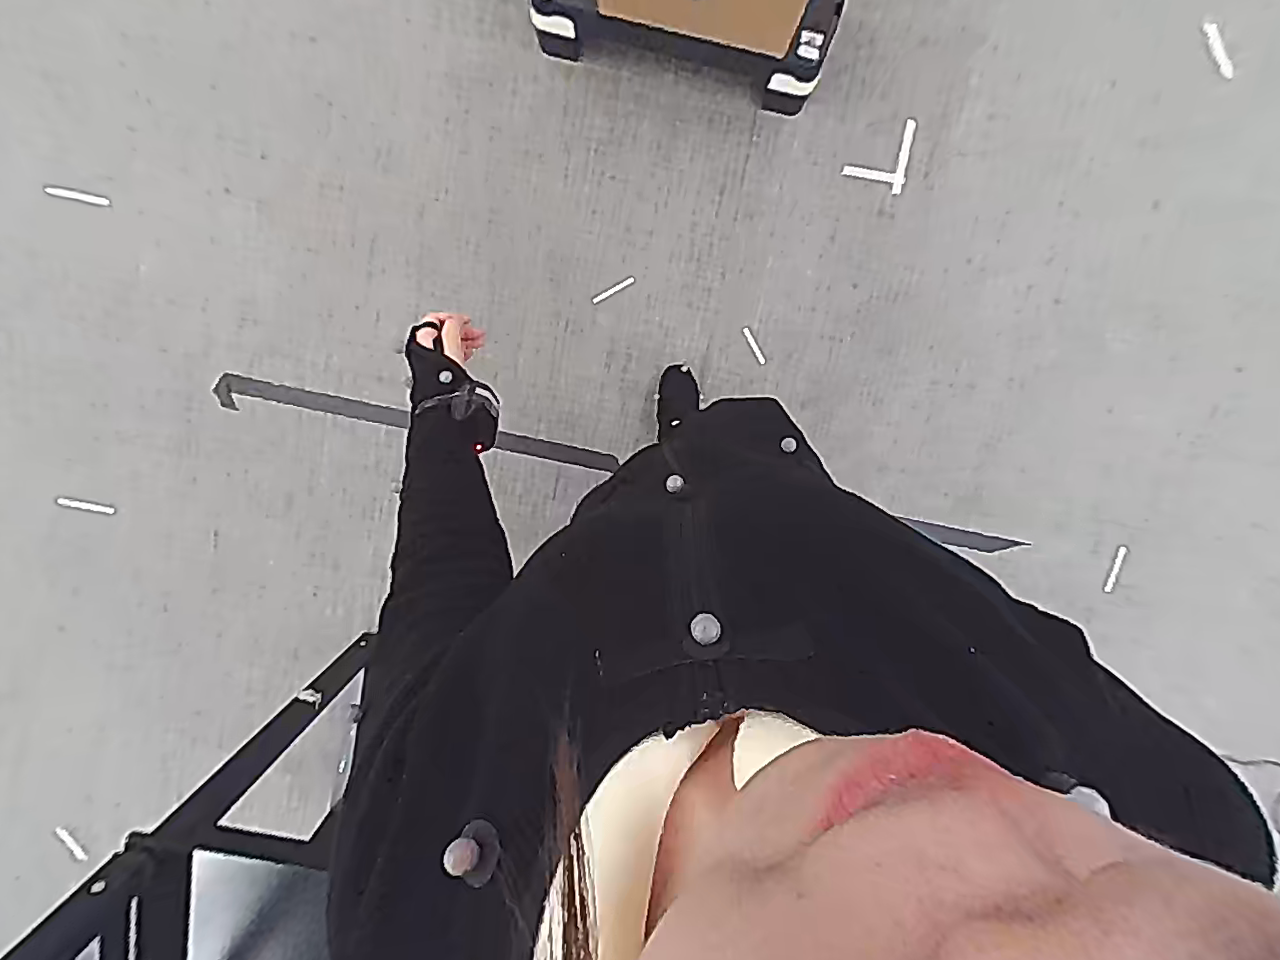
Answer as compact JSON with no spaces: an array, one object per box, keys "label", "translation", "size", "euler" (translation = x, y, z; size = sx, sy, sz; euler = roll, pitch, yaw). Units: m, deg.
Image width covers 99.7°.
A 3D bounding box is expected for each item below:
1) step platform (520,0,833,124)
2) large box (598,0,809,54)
[{"label":"step platform","translation":[0.080,-1.080,1.200],"size":[0.684,0.204,0.286],"euler":[17,99,-2]},{"label":"large box","translation":[0.137,-1.047,0.964],"size":[0.408,0.320,0.320],"euler":[11,99,-1]}]
